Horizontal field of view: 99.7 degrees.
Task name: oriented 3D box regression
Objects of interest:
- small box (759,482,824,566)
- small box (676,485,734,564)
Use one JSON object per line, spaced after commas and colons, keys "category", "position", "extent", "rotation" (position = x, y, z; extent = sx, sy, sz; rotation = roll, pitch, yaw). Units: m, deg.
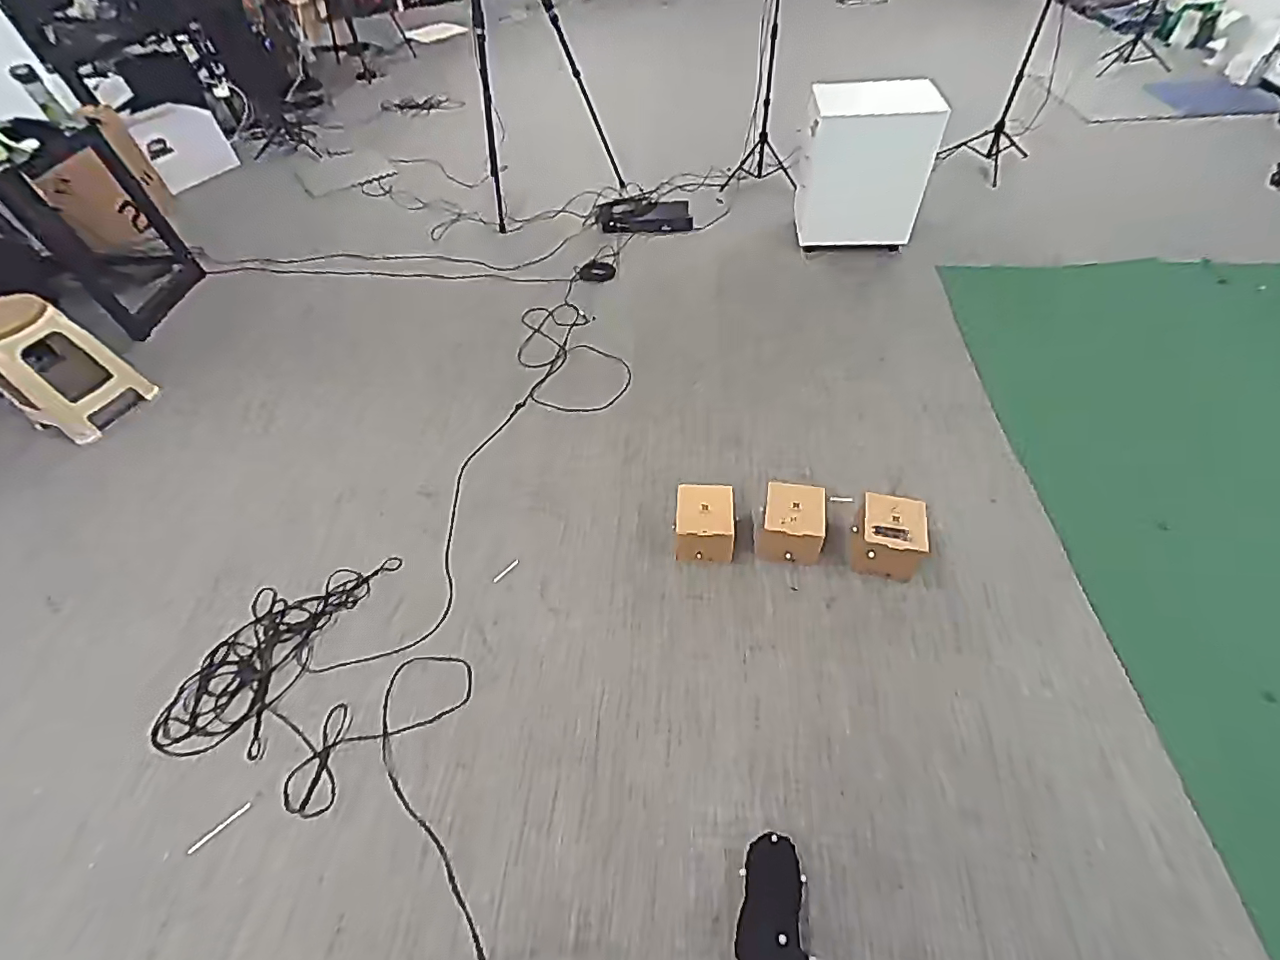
{"category": "small box", "position": [0.450, 0.131, 1.615], "extent": [0.168, 0.176, 0.179], "rotation": [7, 53, 11]}
{"category": "small box", "position": [0.194, 0.134, 1.636], "extent": [0.168, 0.176, 0.179], "rotation": [1, 52, 6]}
